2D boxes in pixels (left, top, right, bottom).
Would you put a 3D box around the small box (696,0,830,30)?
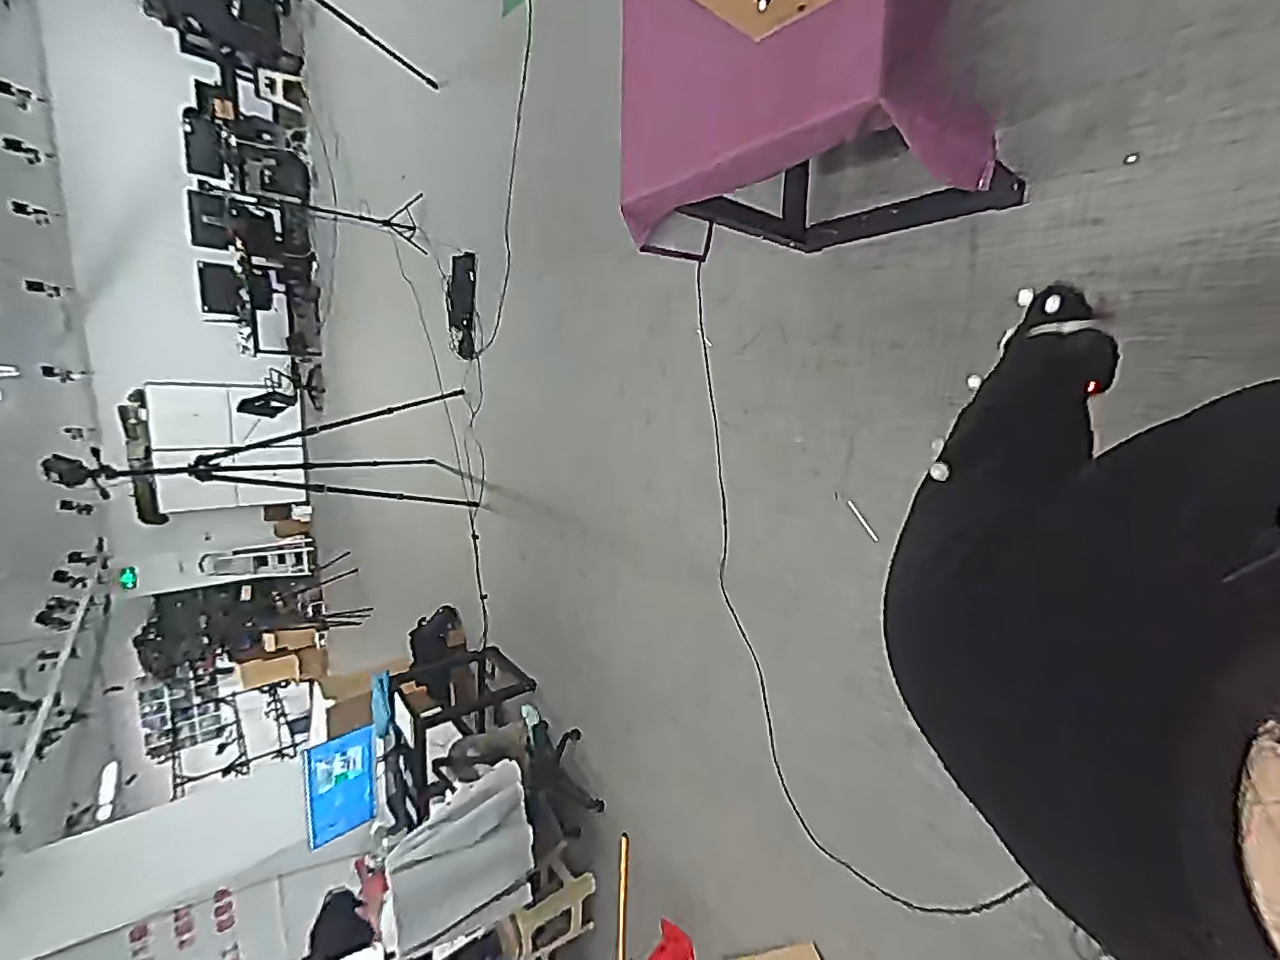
[{"bbox_3d":[0.195,-0.813,0.798,0.168,0.176,0.179,16,107,48],"label":"small box"}]
